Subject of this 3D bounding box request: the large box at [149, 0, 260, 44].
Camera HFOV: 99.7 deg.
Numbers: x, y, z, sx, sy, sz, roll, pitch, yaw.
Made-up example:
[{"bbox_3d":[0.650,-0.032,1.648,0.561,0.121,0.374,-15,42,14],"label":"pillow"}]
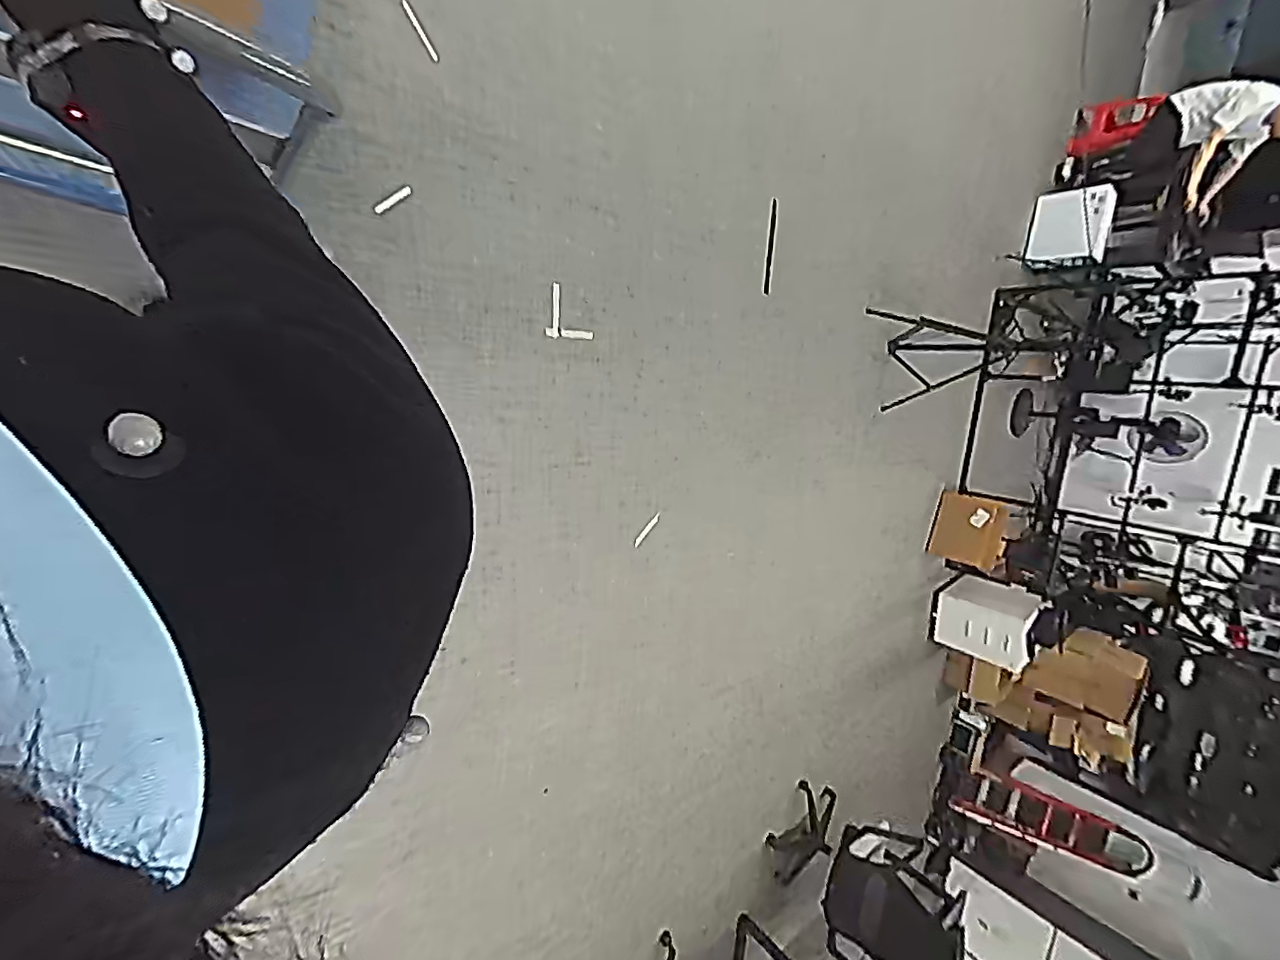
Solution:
[{"bbox_3d":[-0.730,-0.896,0.705,0.408,0.320,0.320,6,97,-40],"label":"large box"}]
